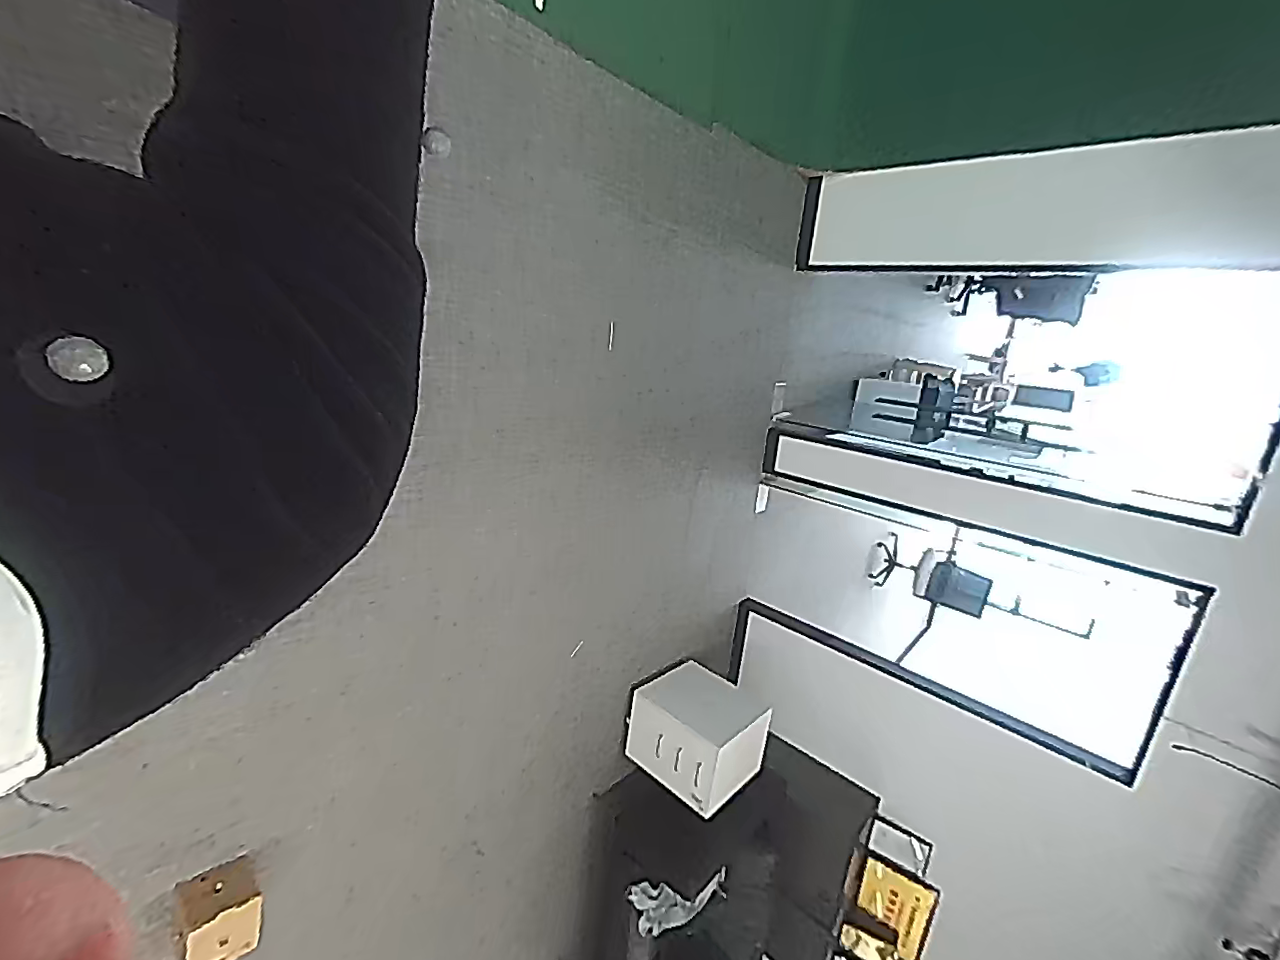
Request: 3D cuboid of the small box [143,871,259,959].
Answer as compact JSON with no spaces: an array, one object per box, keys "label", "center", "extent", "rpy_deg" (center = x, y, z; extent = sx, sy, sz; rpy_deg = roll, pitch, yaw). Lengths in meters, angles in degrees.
[{"label":"small box","center":[-1.198,1.226,1.475],"extent":[0.179,0.176,0.168],"rpy_deg":[-38,133,-37]}]
